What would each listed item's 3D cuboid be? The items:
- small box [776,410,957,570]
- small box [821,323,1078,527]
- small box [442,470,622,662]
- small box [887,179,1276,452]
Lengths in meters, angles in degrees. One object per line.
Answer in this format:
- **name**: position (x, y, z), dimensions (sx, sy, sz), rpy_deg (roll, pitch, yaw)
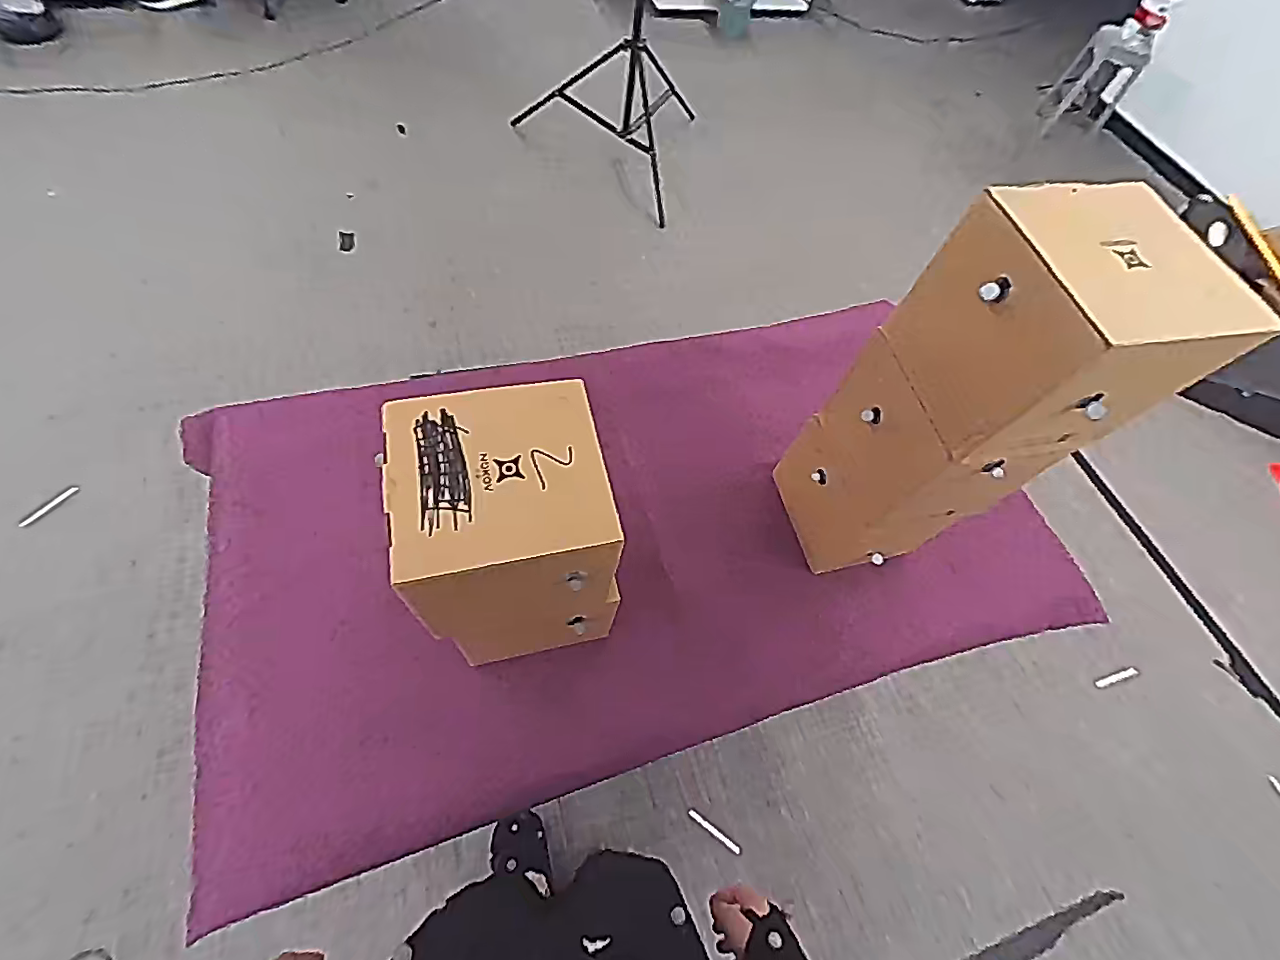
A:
- **small box**: position (0.319, 0.009, 0.779), dimensions (0.168, 0.176, 0.179), rpy_deg (-10, 64, -13)
- **small box**: position (0.341, -0.065, 0.635), dimensions (0.168, 0.176, 0.179), rpy_deg (-8, 62, -12)
- **small box**: position (-0.131, 0.109, 0.657), dimensions (0.179, 0.176, 0.168), rpy_deg (-9, 62, -13)
- **small box**: position (0.365, -0.138, 0.490), dimensions (0.168, 0.176, 0.179), rpy_deg (-8, 62, -12)
